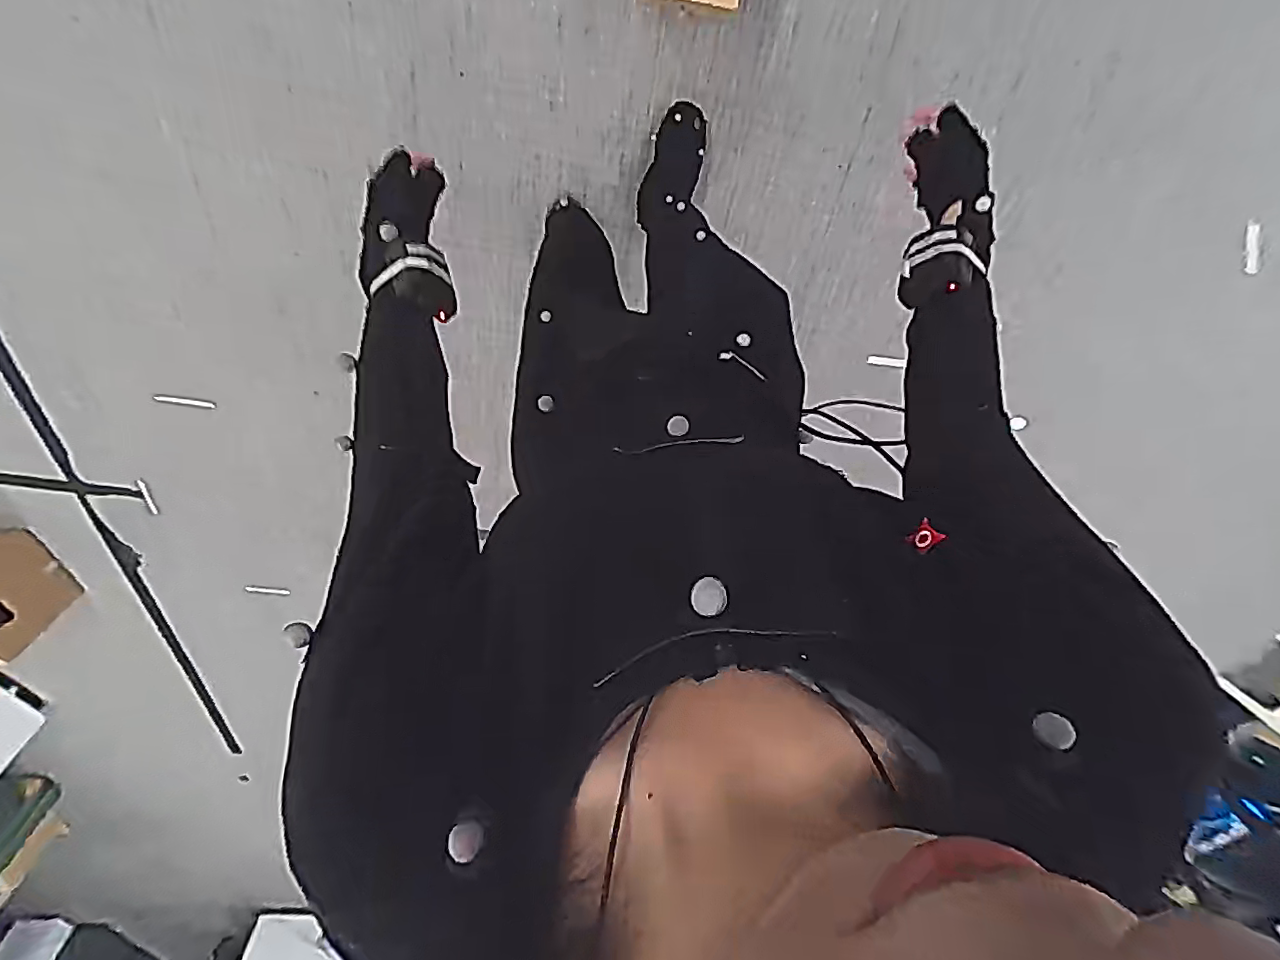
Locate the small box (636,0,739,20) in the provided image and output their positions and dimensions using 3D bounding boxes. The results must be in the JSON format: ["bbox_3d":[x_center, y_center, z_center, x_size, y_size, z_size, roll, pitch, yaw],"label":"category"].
[{"bbox_3d":[0.089,-0.919,0.935,0.179,0.176,0.168,6,127,-7],"label":"small box"}]
